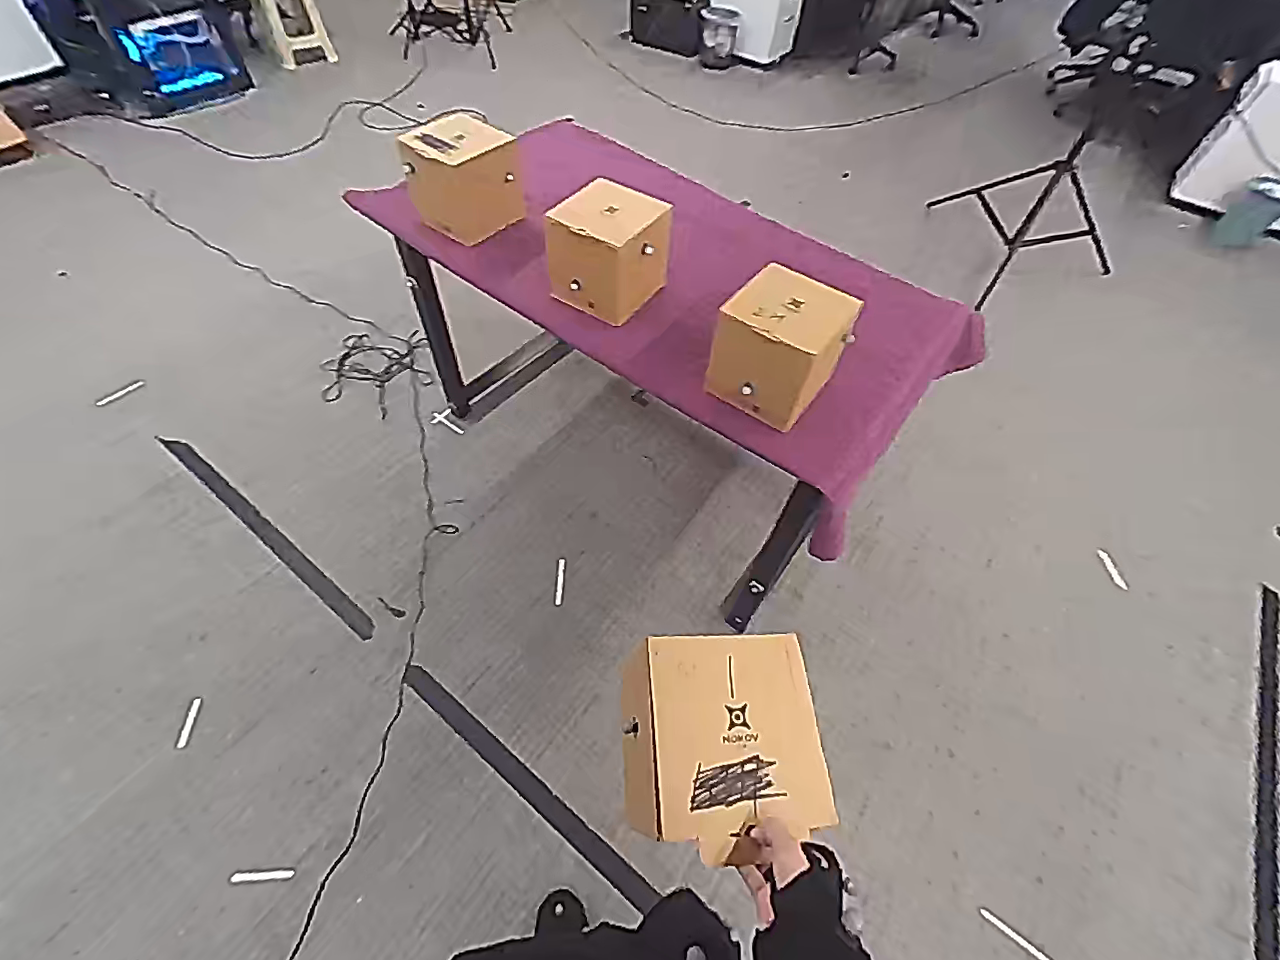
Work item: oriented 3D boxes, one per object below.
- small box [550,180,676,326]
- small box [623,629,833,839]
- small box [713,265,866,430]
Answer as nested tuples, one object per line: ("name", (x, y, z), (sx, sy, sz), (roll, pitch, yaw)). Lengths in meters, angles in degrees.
("small box", (-0.053, -0.430, 1.029), (0.168, 0.176, 0.179), (29, 59, 16))
("small box", (0.077, 0.268, 0.582), (0.168, 0.176, 0.179), (2, 61, -12))
("small box", (0.238, -0.218, 0.898), (0.168, 0.176, 0.179), (32, 58, 19))
